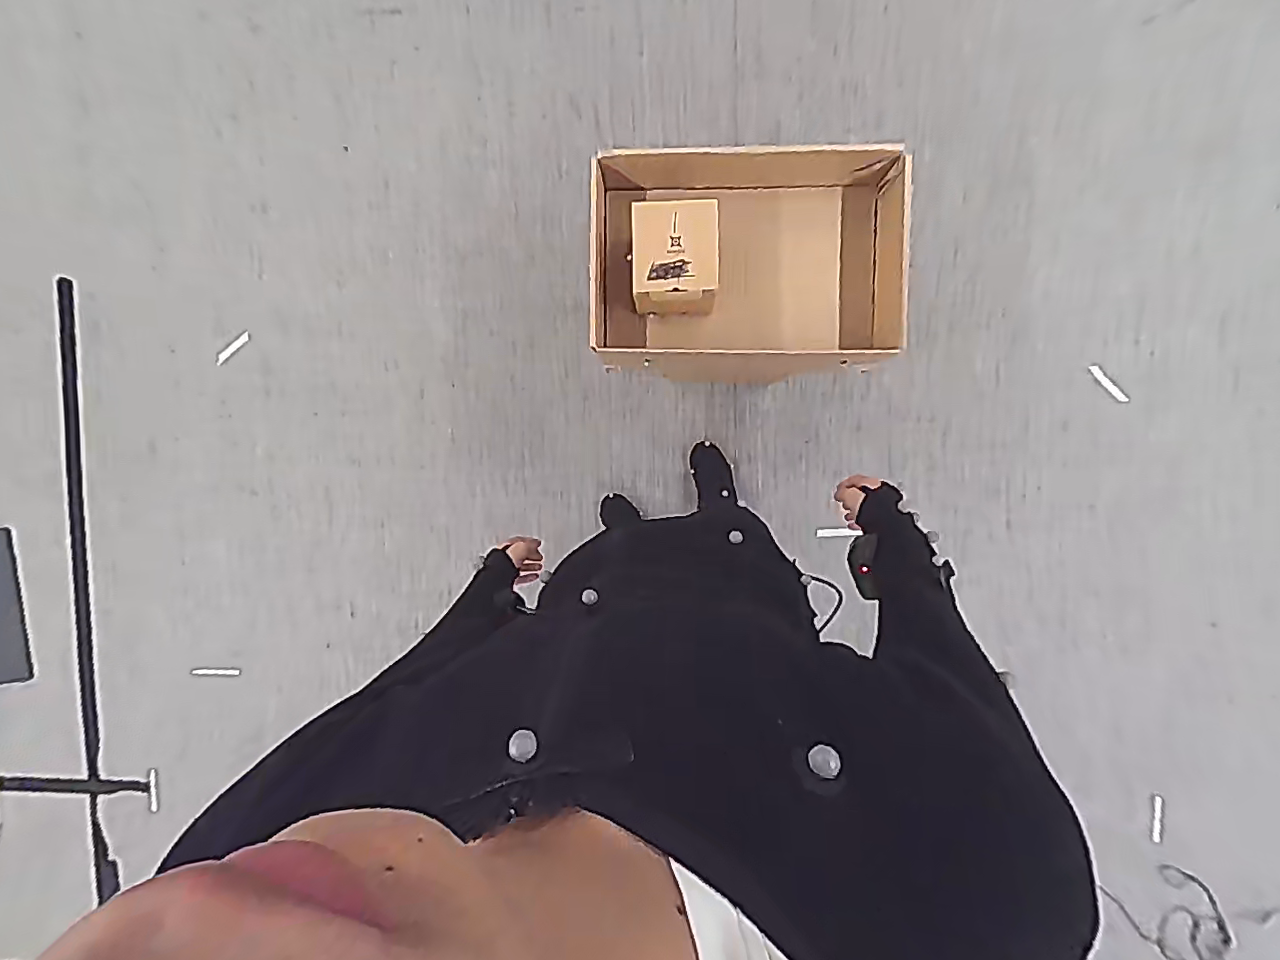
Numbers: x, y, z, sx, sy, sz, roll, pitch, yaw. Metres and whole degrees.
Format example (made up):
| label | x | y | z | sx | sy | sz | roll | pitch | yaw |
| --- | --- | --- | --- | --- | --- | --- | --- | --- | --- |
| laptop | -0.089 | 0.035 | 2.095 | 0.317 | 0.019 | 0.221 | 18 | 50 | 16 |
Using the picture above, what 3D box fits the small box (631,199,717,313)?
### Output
| label | x | y | z | sx | sy | sz | roll | pitch | yaw |
| --- | --- | --- | --- | --- | --- | --- | --- | --- | --- |
| small box | 0.069 | -0.447 | 1.107 | 0.168 | 0.176 | 0.179 | -1 | 92 | 3 |
